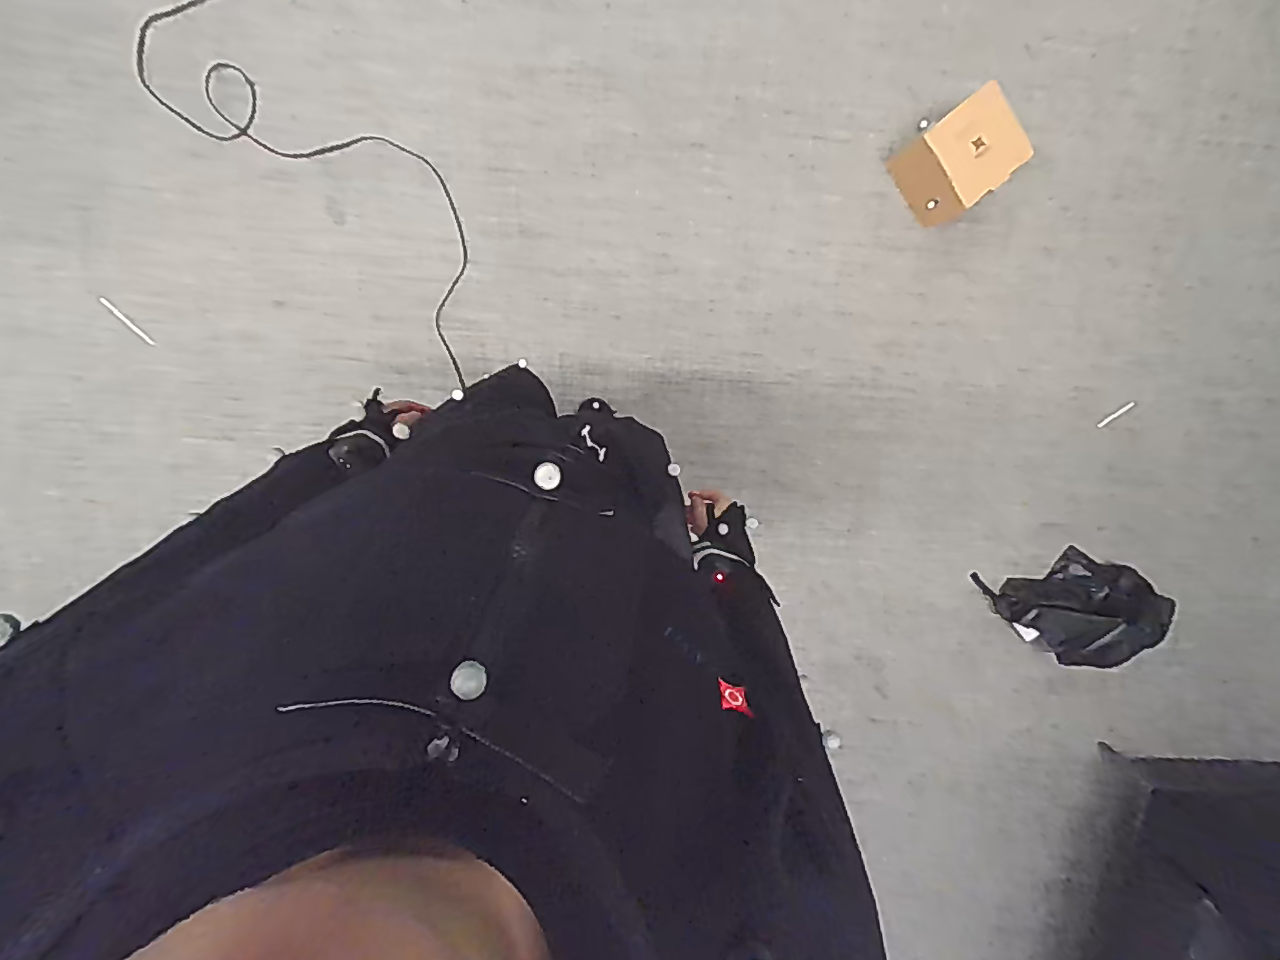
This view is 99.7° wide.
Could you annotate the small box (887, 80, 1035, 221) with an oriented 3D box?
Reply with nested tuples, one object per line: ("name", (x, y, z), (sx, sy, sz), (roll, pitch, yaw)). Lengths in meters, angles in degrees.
("small box", (0.666, -0.676, 1.142), (0.168, 0.176, 0.179), (-39, 101, 6))
